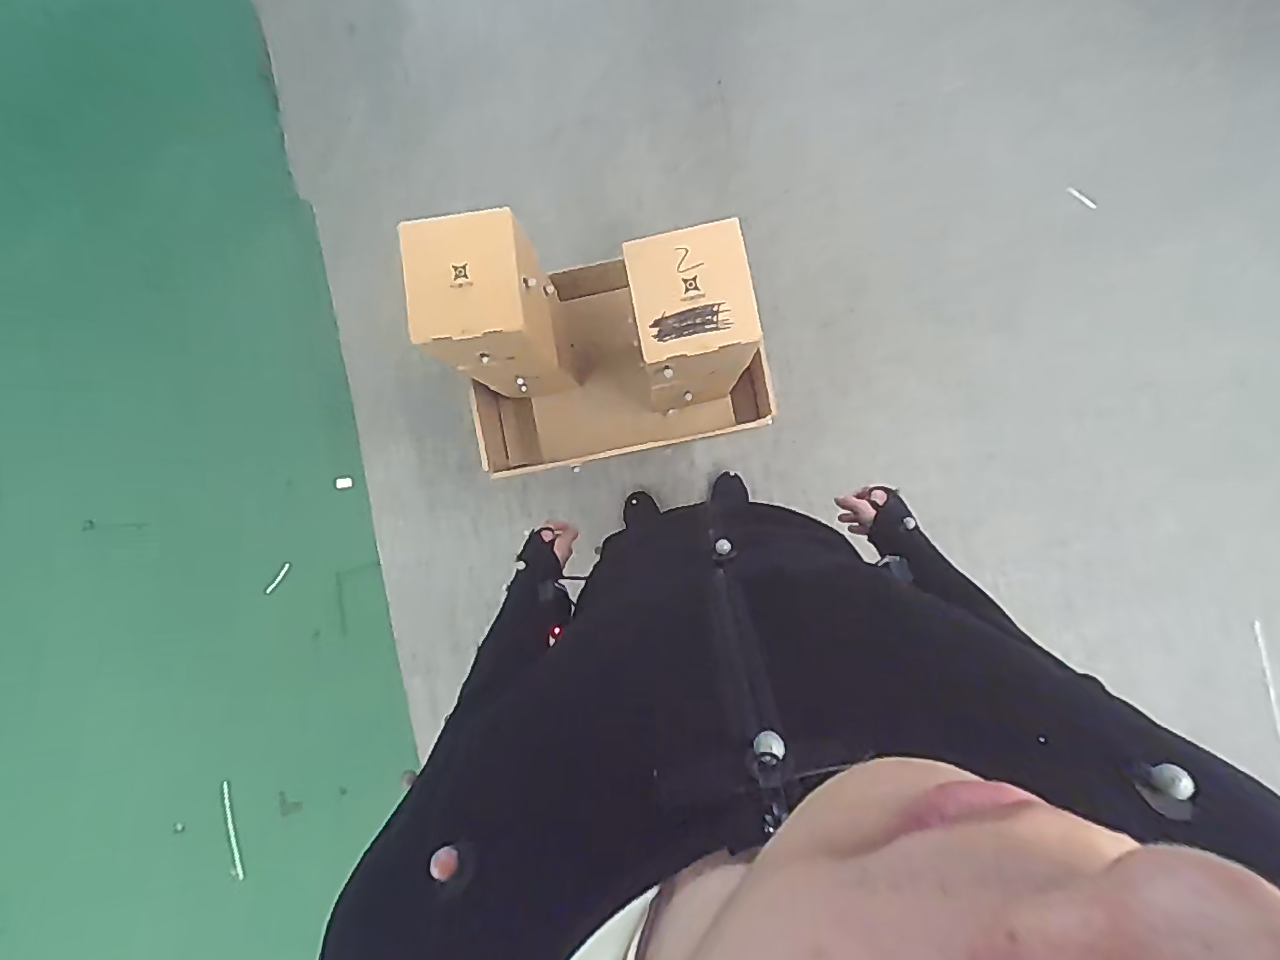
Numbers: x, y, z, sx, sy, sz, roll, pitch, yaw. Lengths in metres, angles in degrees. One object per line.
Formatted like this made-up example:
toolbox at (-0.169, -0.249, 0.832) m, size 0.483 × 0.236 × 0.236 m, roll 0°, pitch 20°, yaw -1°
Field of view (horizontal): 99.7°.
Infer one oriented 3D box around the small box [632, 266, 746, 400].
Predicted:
small box at (0.084, -0.257, 0.983) m, size 0.168 × 0.176 × 0.179 m, roll -12°, pitch 89°, yaw 3°

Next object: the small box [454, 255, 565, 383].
small box at (-0.241, -0.289, 1.000) m, size 0.168 × 0.176 × 0.179 m, roll -7°, pitch 89°, yaw 4°

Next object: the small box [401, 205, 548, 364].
small box at (-0.246, -0.292, 0.839) m, size 0.168 × 0.176 × 0.179 m, roll -6°, pitch 90°, yaw 3°

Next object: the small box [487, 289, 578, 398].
small box at (-0.234, -0.286, 1.164) m, size 0.168 × 0.176 × 0.179 m, roll -9°, pitch 89°, yaw 3°

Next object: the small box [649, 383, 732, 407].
small box at (0.093, -0.257, 1.146) m, size 0.168 × 0.176 × 0.179 m, roll -11°, pitch 88°, yaw 3°
